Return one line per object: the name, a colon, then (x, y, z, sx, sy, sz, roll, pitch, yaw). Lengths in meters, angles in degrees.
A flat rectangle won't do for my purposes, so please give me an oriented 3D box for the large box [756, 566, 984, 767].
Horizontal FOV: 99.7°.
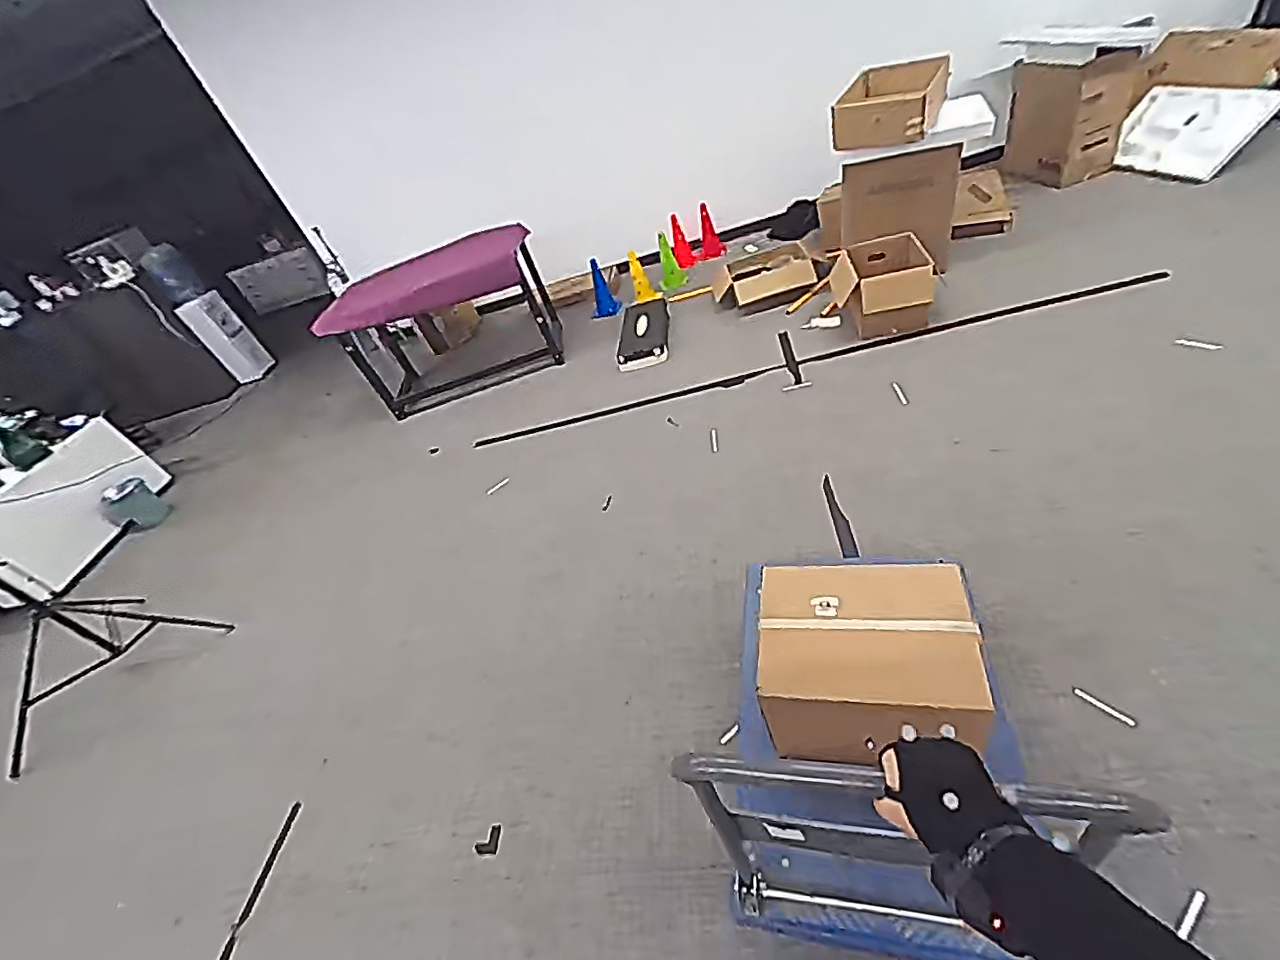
large box: (0.490, 0.415, 1.204, 0.408, 0.320, 0.320, -6, 42, 21)
